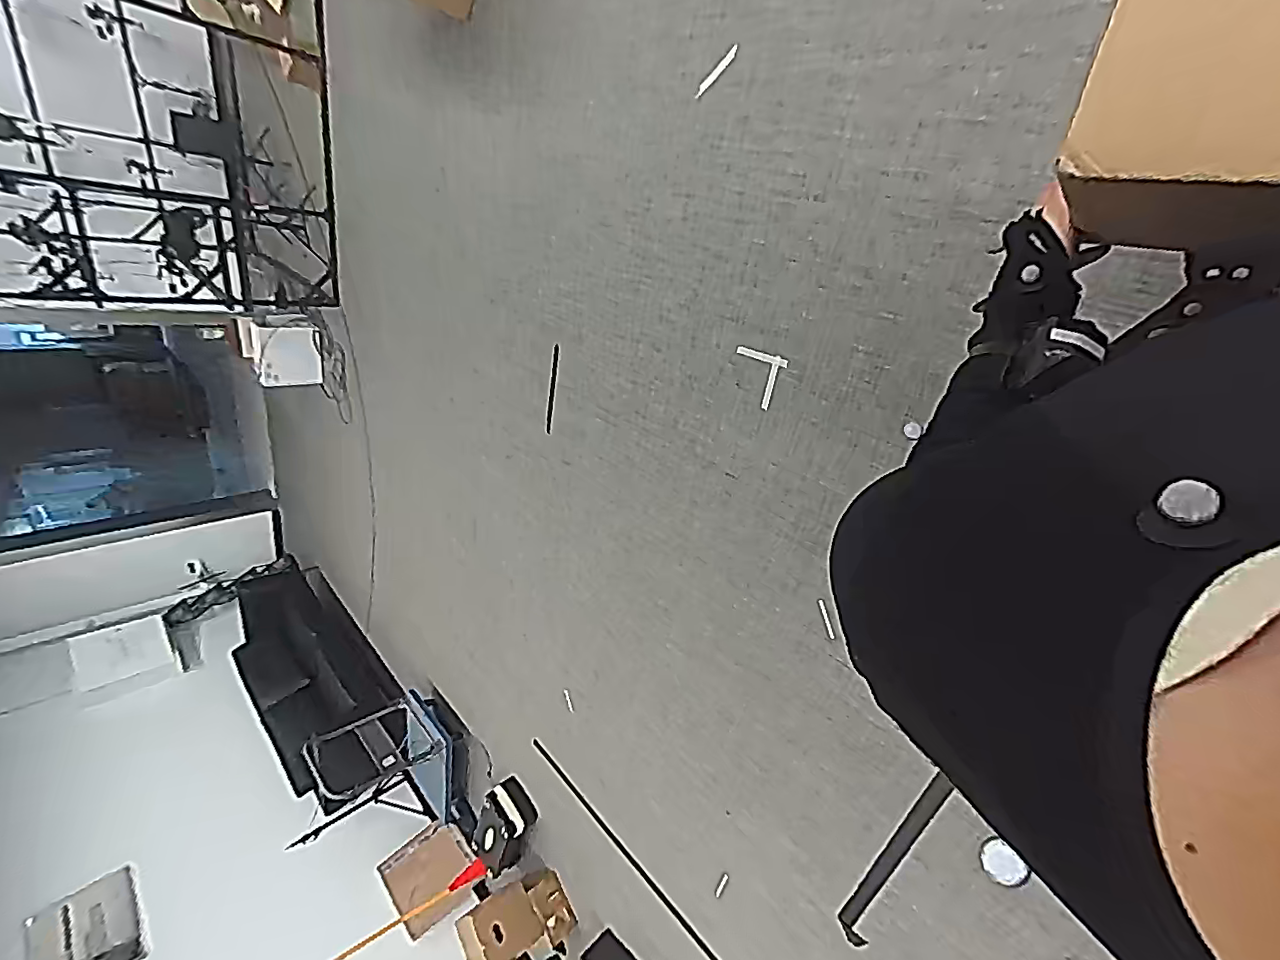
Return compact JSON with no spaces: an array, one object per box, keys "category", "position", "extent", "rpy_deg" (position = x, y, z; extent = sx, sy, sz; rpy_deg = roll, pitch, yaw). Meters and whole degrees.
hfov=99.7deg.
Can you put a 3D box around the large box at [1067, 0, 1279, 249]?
[{"category":"large box","position":[0.471,-0.268,0.218],"extent":[0.408,0.320,0.320],"rpy_deg":[23,117,33]}]
